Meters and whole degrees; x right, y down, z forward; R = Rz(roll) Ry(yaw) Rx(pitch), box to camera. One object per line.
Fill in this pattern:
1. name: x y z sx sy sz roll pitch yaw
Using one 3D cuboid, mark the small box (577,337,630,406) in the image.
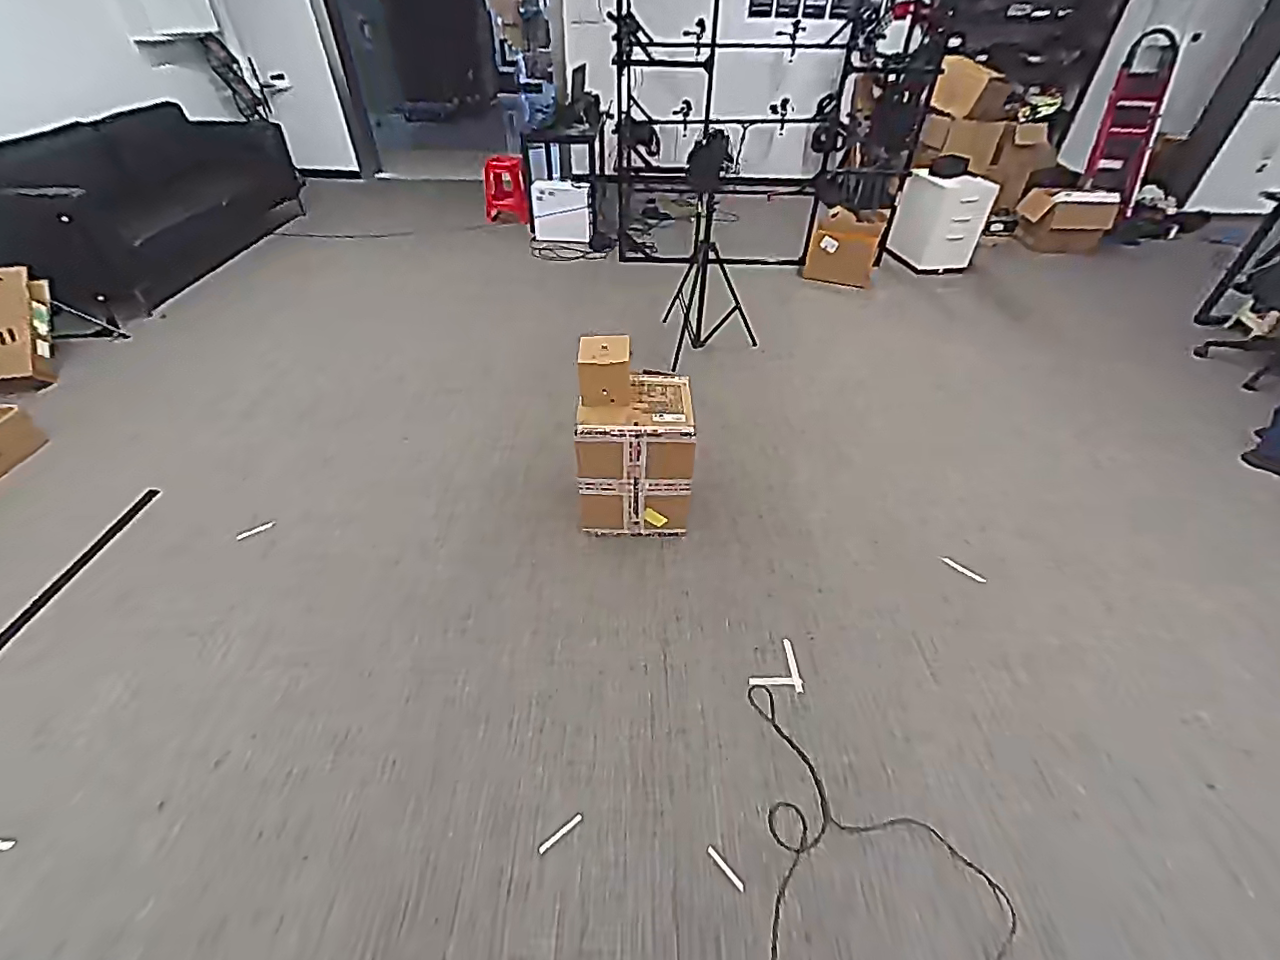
1. small box: -0.120 -0.368 1.831 0.168 0.176 0.179 -2 44 0
